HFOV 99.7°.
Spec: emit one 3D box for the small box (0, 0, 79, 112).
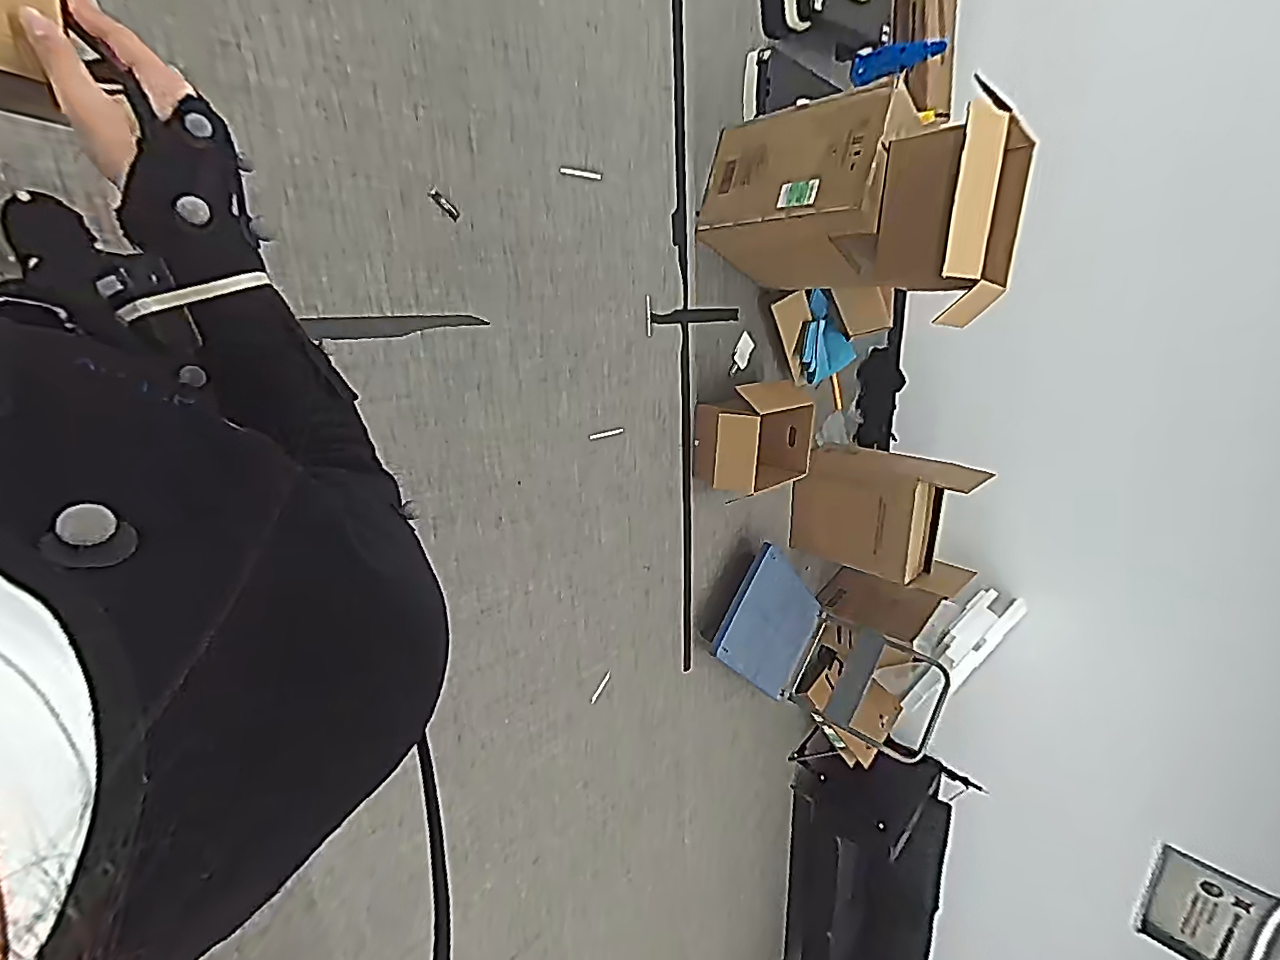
[{"bbox_3d":[-0.435,-0.326,0.288,0.179,0.176,0.168,-7,112,-44],"label":"small box"}]
